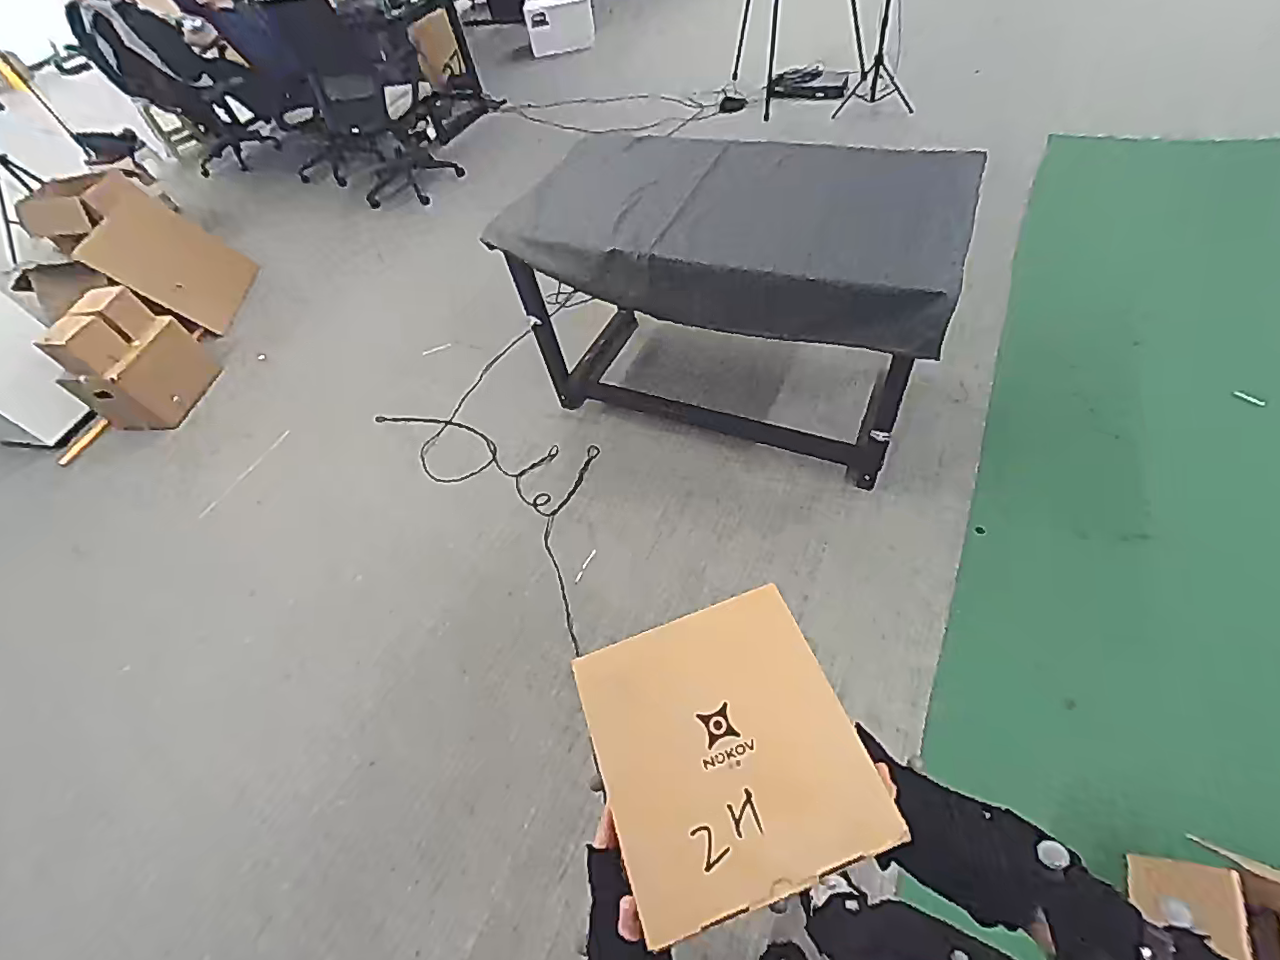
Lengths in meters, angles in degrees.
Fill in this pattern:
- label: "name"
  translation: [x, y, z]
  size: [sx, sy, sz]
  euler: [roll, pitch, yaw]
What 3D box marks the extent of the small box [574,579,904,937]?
- label: "small box"
  translation: [0.062, 0.210, 0.421]
  size: [0.168, 0.176, 0.179]
  euler: [-20, 56, -4]
